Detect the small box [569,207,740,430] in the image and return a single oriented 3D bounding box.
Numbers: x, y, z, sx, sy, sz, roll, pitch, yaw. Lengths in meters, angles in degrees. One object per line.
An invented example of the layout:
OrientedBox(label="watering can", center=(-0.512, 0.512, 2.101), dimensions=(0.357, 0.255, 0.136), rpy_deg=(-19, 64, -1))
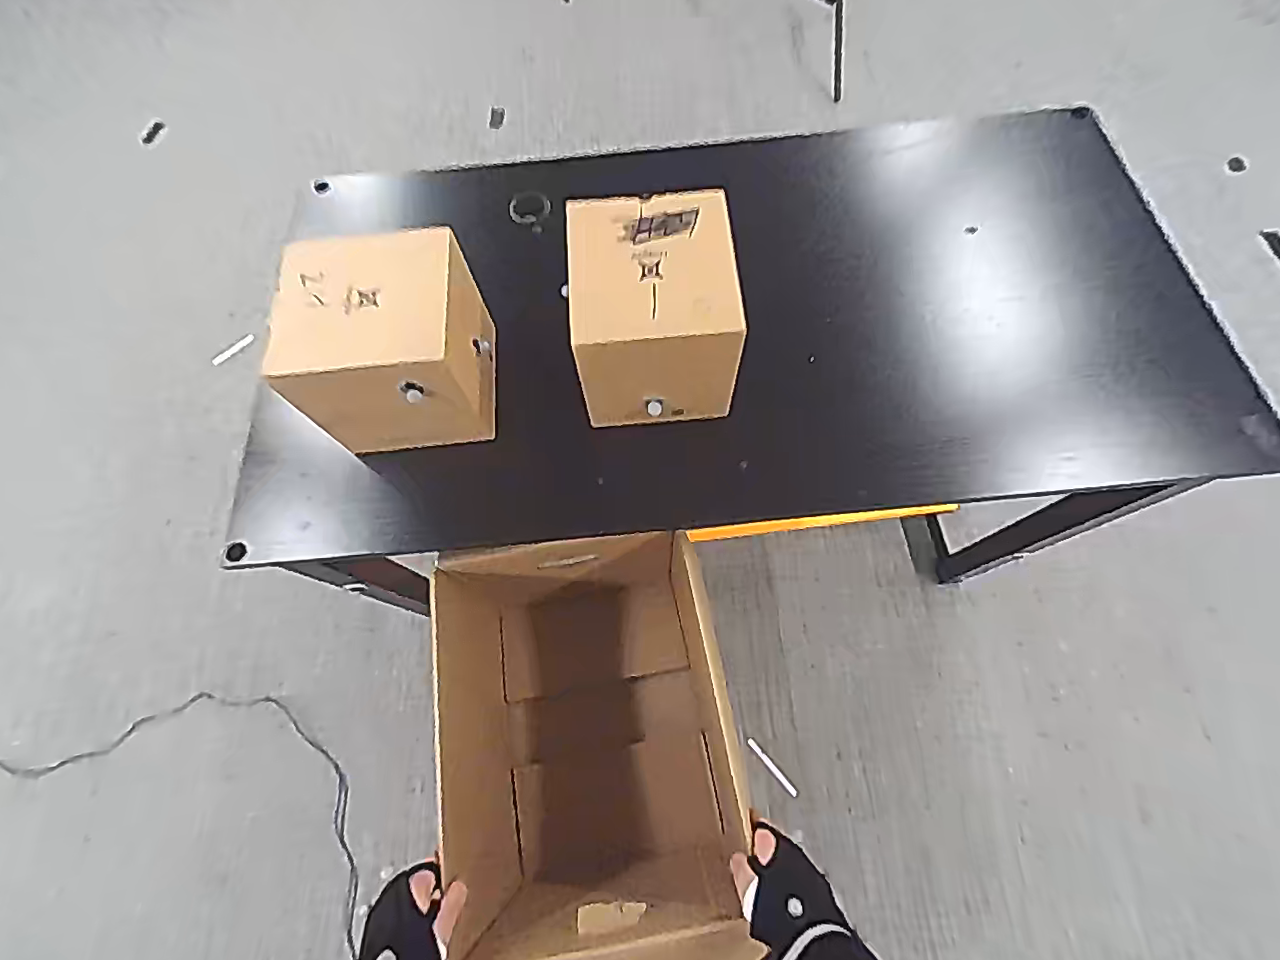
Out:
OrientedBox(label="small box", center=(0.012, -0.175, 0.616), dimensions=(0.168, 0.176, 0.179), rpy_deg=(-5, 68, 1))

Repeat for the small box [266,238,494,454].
OrientedBox(label="small box", center=(-0.271, -0.141, 0.612), dimensions=(0.179, 0.176, 0.168), rpy_deg=(-6, 67, 0))
